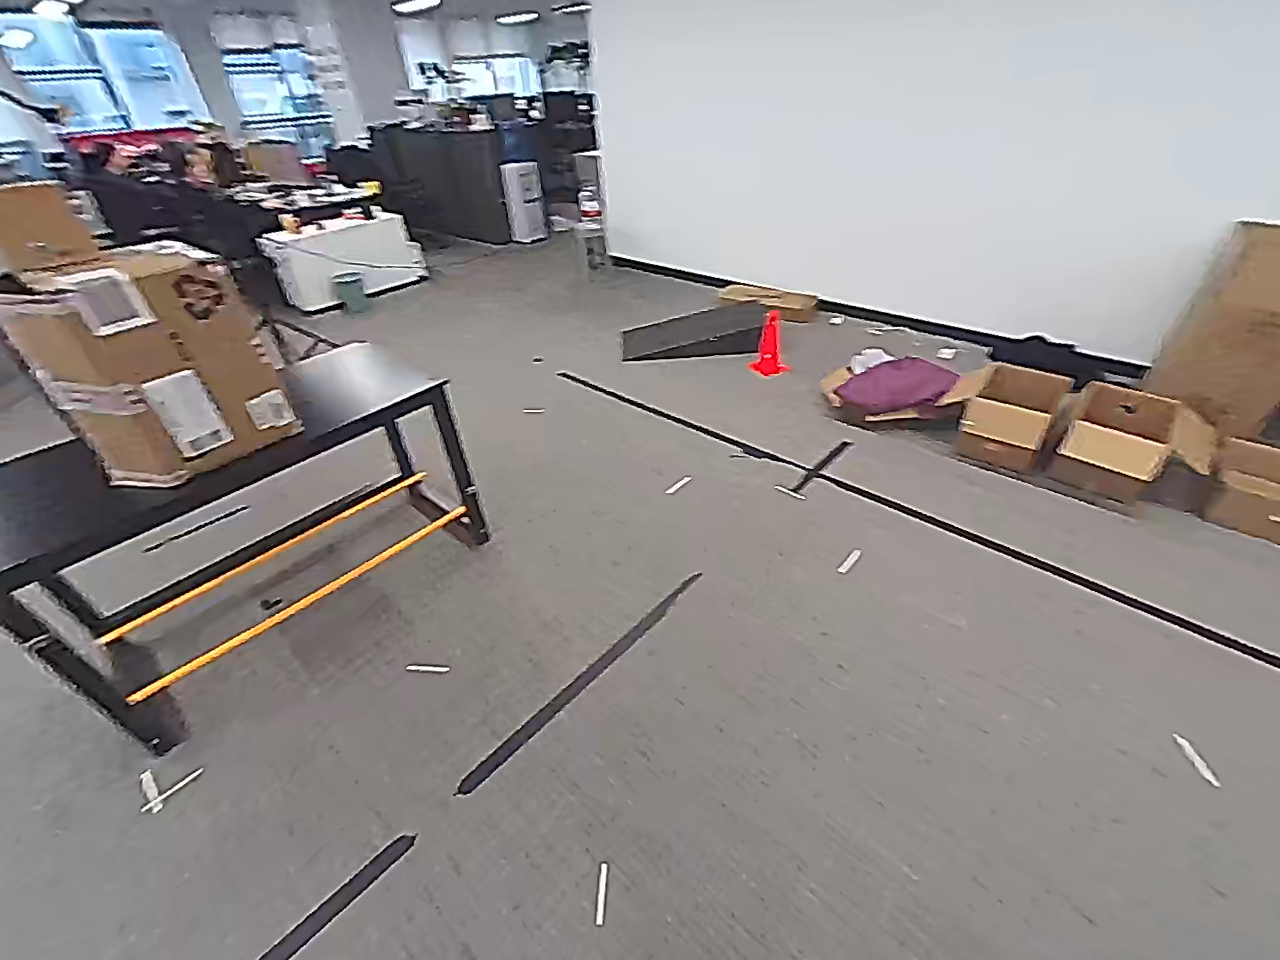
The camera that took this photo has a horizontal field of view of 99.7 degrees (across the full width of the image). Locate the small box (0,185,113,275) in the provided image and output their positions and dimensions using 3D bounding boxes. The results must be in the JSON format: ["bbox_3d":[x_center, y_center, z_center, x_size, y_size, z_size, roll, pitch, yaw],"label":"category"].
[{"bbox_3d":[-1.409,-0.590,1.273,0.179,0.176,0.168,20,42,32],"label":"small box"}]
